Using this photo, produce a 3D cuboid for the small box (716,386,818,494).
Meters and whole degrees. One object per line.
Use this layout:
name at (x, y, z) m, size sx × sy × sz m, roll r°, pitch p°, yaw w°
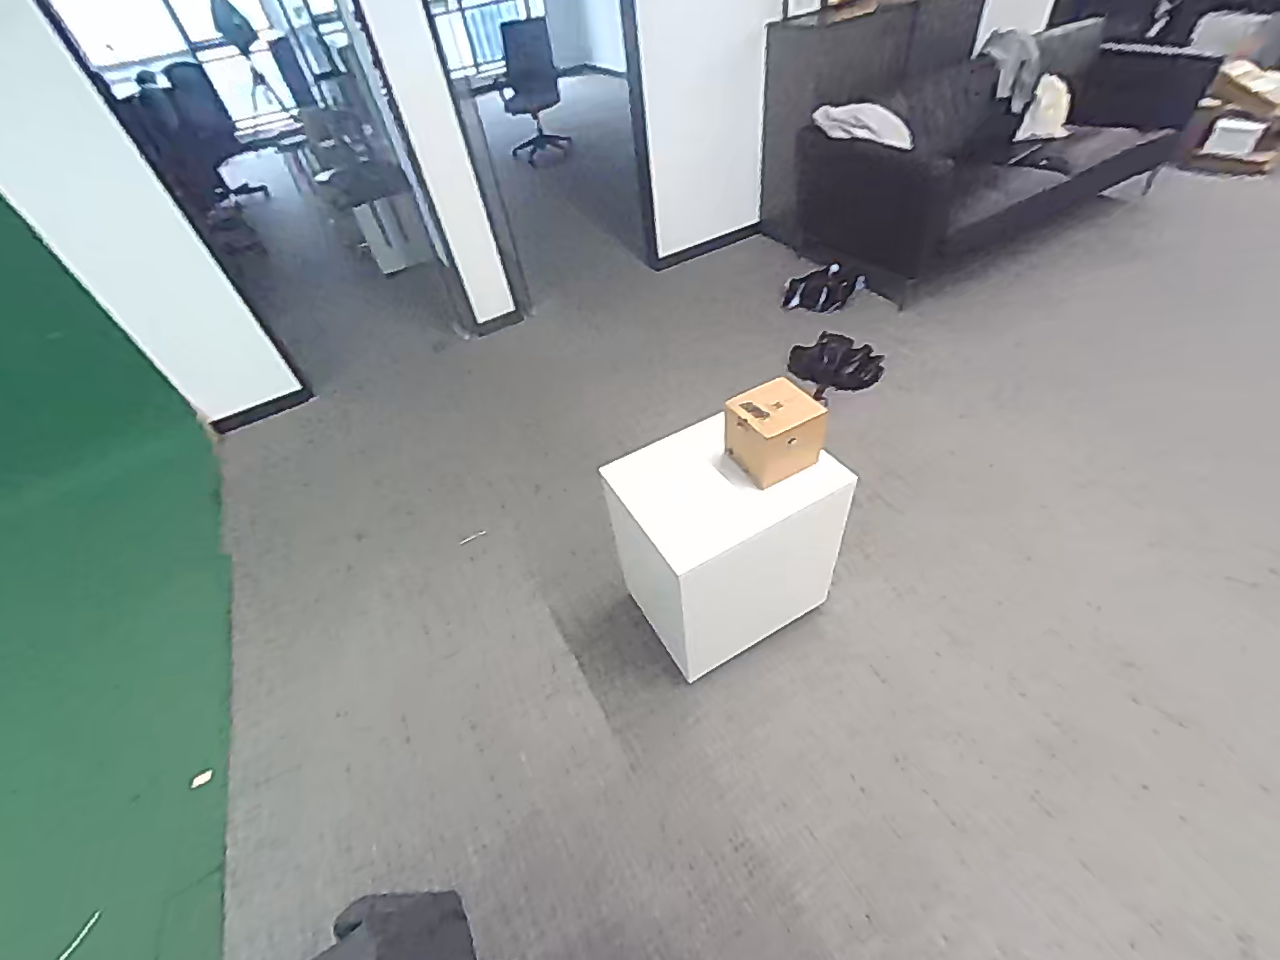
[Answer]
small box at (0.302, -0.094, 1.312) m, size 0.179 × 0.176 × 0.168 m, roll -24°, pitch 48°, yaw -18°
